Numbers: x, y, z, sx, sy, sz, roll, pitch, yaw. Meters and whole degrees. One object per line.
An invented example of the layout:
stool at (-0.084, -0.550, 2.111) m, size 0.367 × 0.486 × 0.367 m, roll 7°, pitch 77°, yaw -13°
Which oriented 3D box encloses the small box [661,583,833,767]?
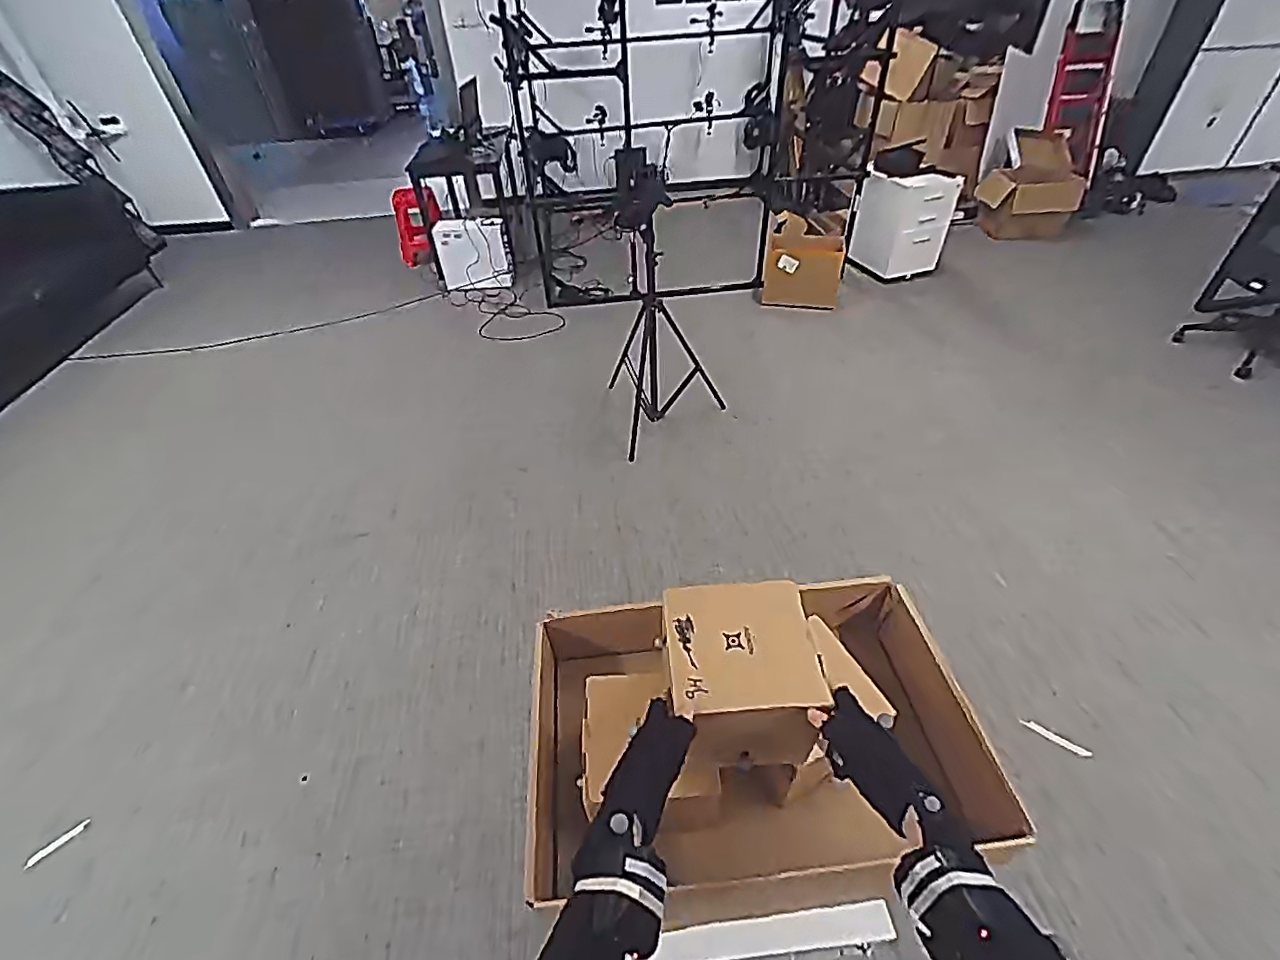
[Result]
small box at (0.121, 0.250, 0.694) m, size 0.179 × 0.176 × 0.168 m, roll -3°, pitch 43°, yaw -1°
